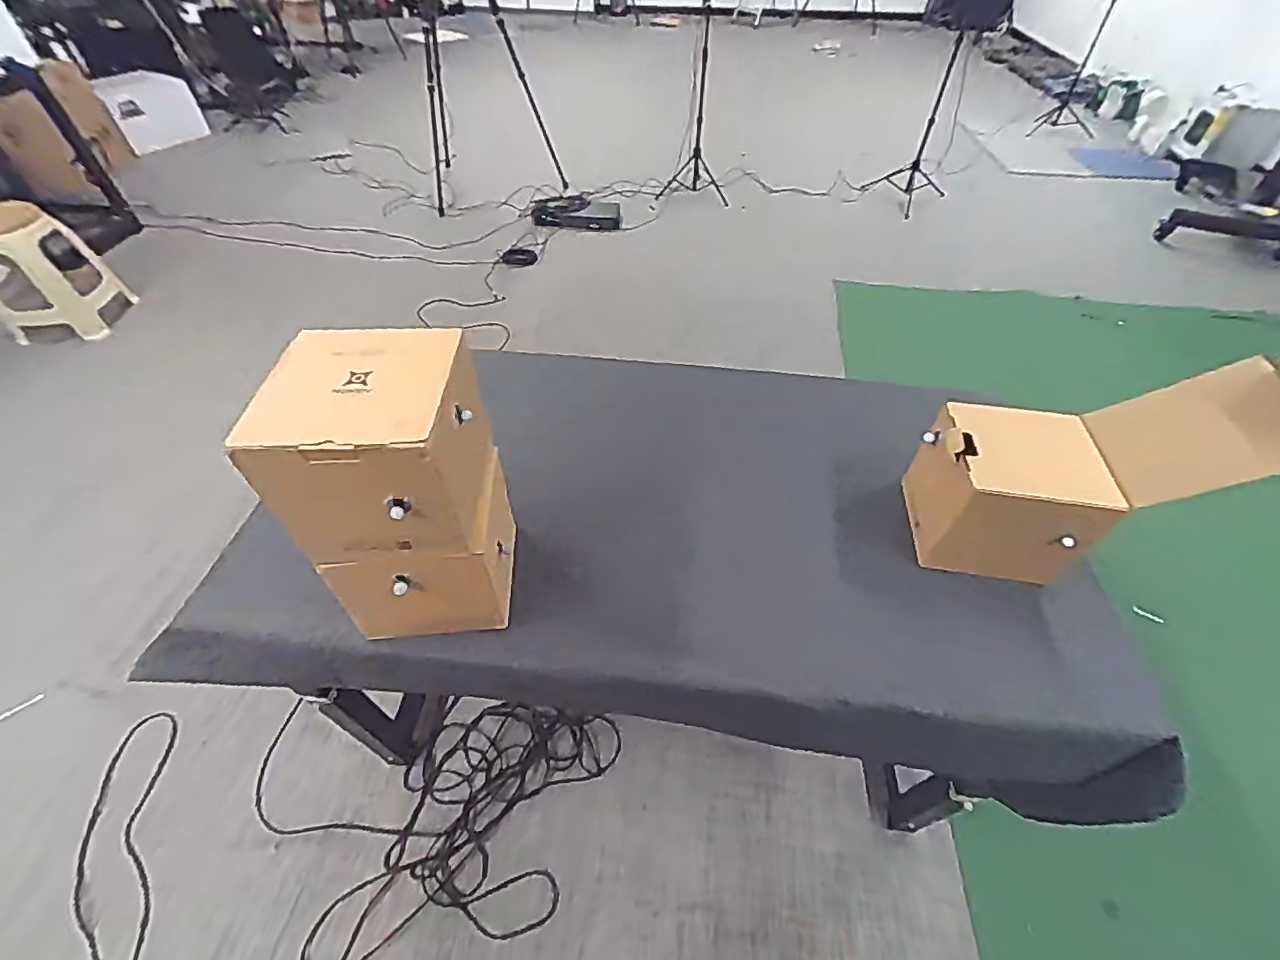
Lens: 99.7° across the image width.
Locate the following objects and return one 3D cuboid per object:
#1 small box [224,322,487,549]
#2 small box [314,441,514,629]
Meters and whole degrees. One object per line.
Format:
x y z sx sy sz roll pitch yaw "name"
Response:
-0.262 -0.042 0.555 0.168 0.176 0.179 -1 47 -3 "small box"
-0.259 0.070 0.673 0.179 0.176 0.168 -3 48 -4 "small box"
